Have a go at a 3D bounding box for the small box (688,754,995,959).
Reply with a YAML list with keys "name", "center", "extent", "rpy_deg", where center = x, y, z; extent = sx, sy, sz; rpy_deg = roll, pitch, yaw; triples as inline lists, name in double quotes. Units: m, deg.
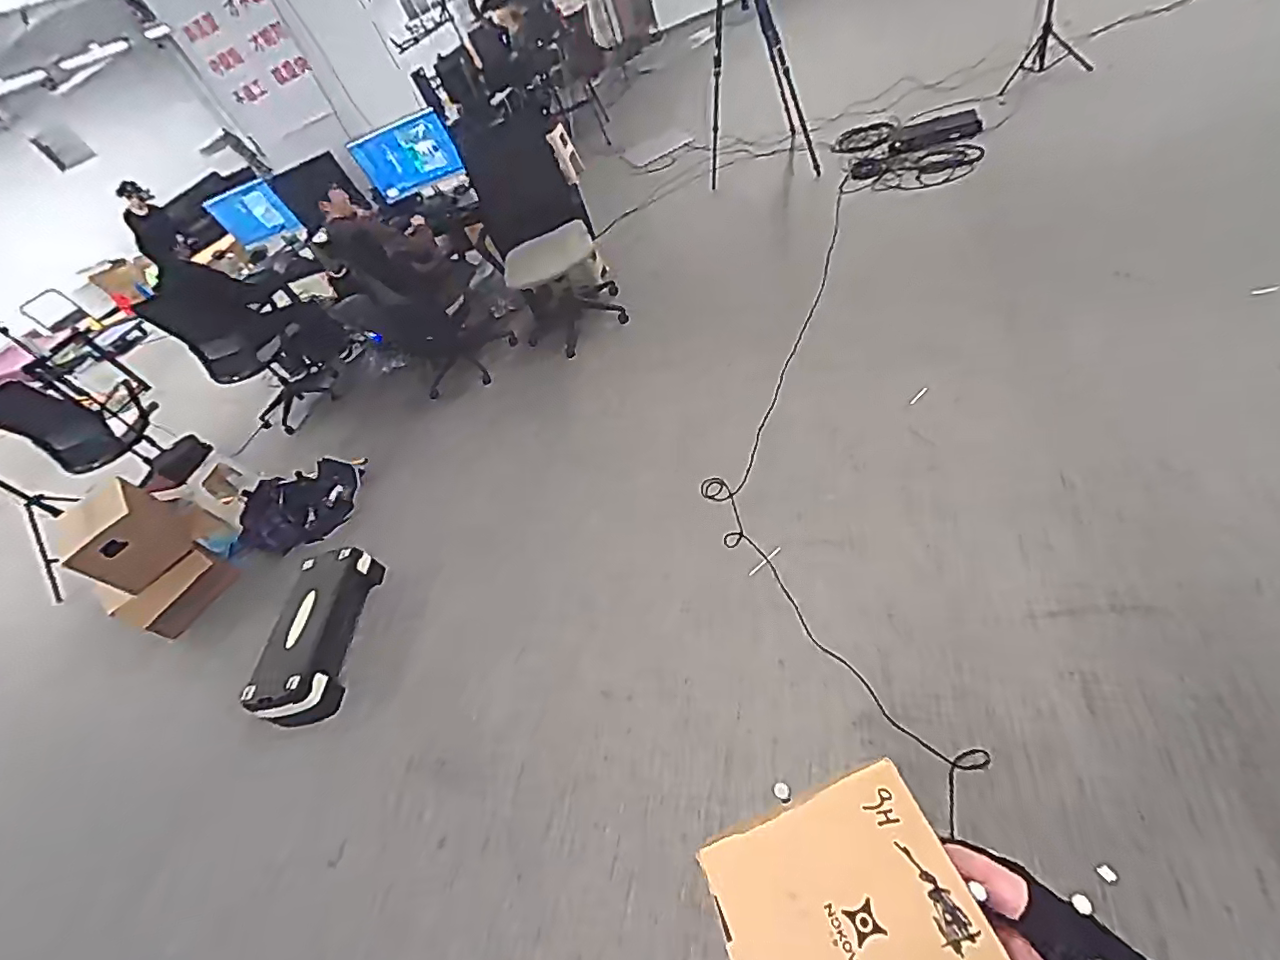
- name: "small box"
  center: [0.161, 0.357, 0.463]
  extent: [0.179, 0.176, 0.168]
  rpy_deg: [-25, 59, 0]
